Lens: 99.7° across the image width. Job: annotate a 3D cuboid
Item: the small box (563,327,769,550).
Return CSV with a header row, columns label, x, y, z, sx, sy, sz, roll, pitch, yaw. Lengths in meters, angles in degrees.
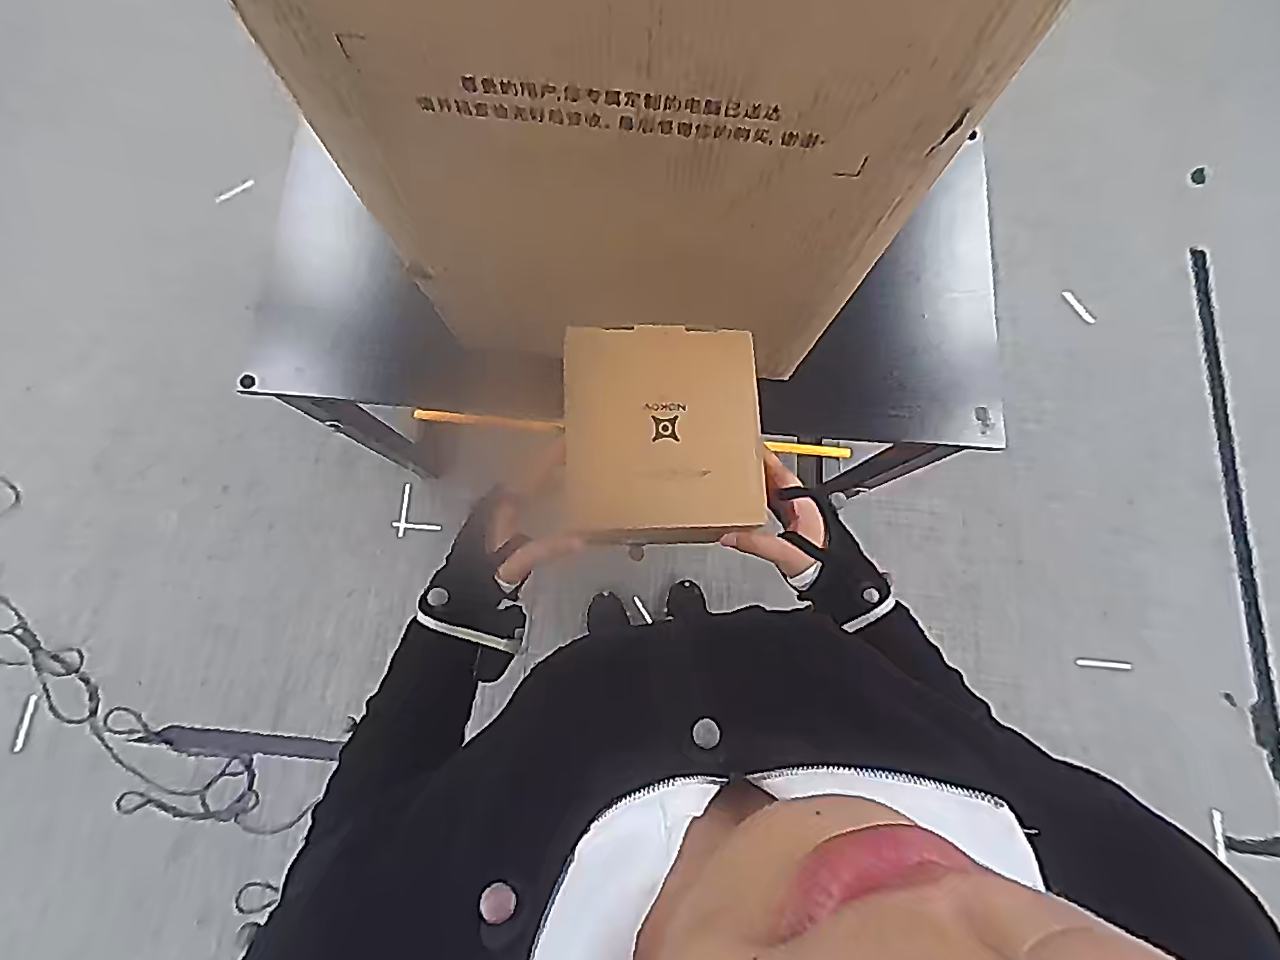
label,x,y,z,sx,sy,sz,roll,pitch,yaw
small box,0.010,-0.028,0.521,0.168,0.176,0.179,-2,80,-8
